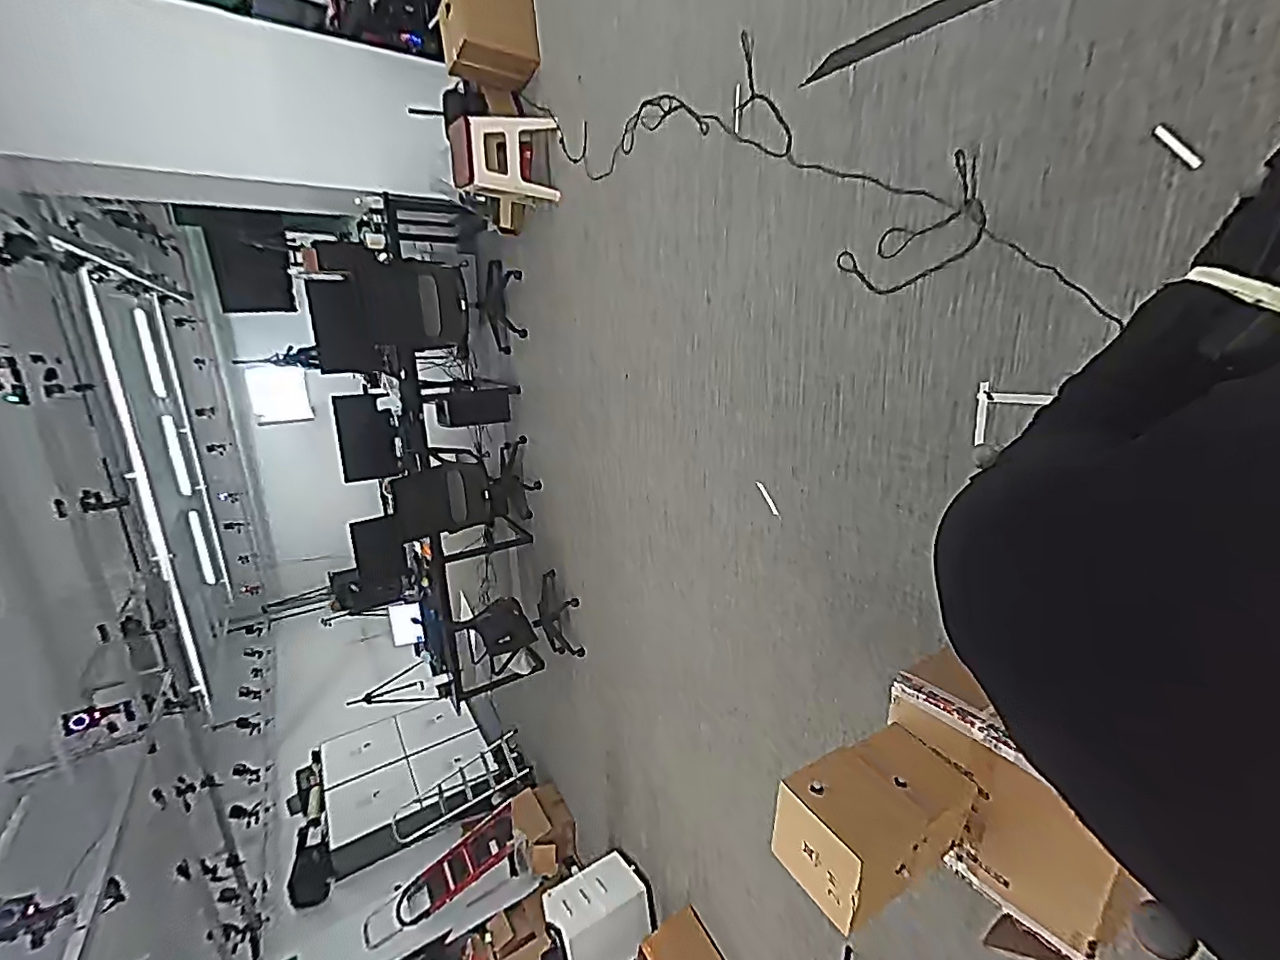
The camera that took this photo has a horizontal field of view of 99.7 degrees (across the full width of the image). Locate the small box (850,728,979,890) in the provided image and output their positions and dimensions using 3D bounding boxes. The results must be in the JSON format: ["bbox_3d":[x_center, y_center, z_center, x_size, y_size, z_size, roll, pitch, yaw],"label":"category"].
[{"bbox_3d":[0.501,0.610,1.028,0.179,0.176,0.168,33,126,54],"label":"small box"}]

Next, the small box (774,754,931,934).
[{"bbox_3d":[0.362,0.609,0.936,0.179,0.176,0.168,28,122,55],"label":"small box"}]
